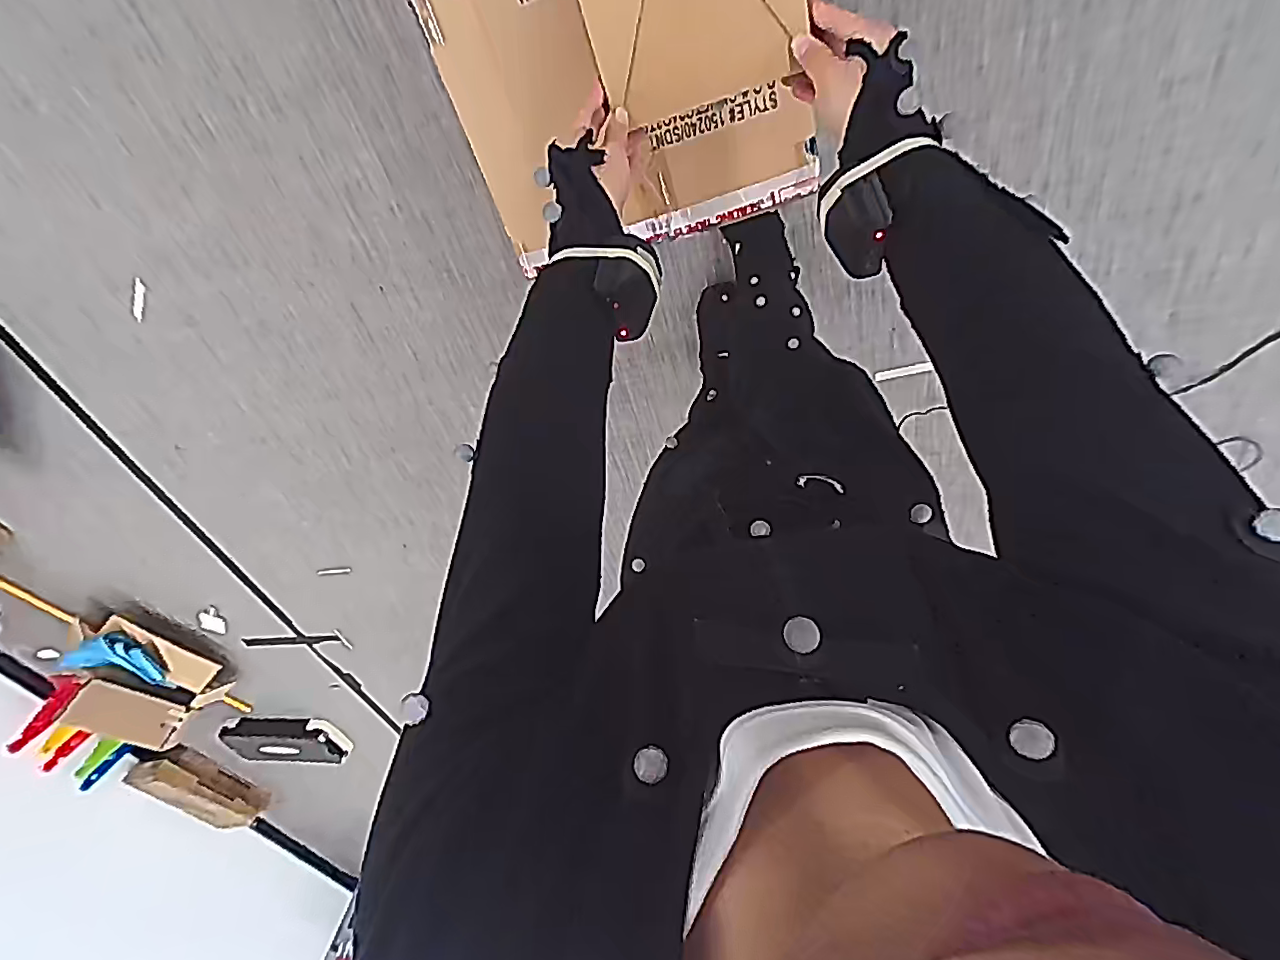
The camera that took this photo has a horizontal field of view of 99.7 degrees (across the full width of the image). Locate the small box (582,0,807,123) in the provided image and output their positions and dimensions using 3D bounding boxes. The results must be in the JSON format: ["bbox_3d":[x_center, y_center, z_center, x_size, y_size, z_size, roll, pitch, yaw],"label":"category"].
[{"bbox_3d":[0.039,-0.430,0.455,0.168,0.176,0.179,-11,129,15],"label":"small box"}]
